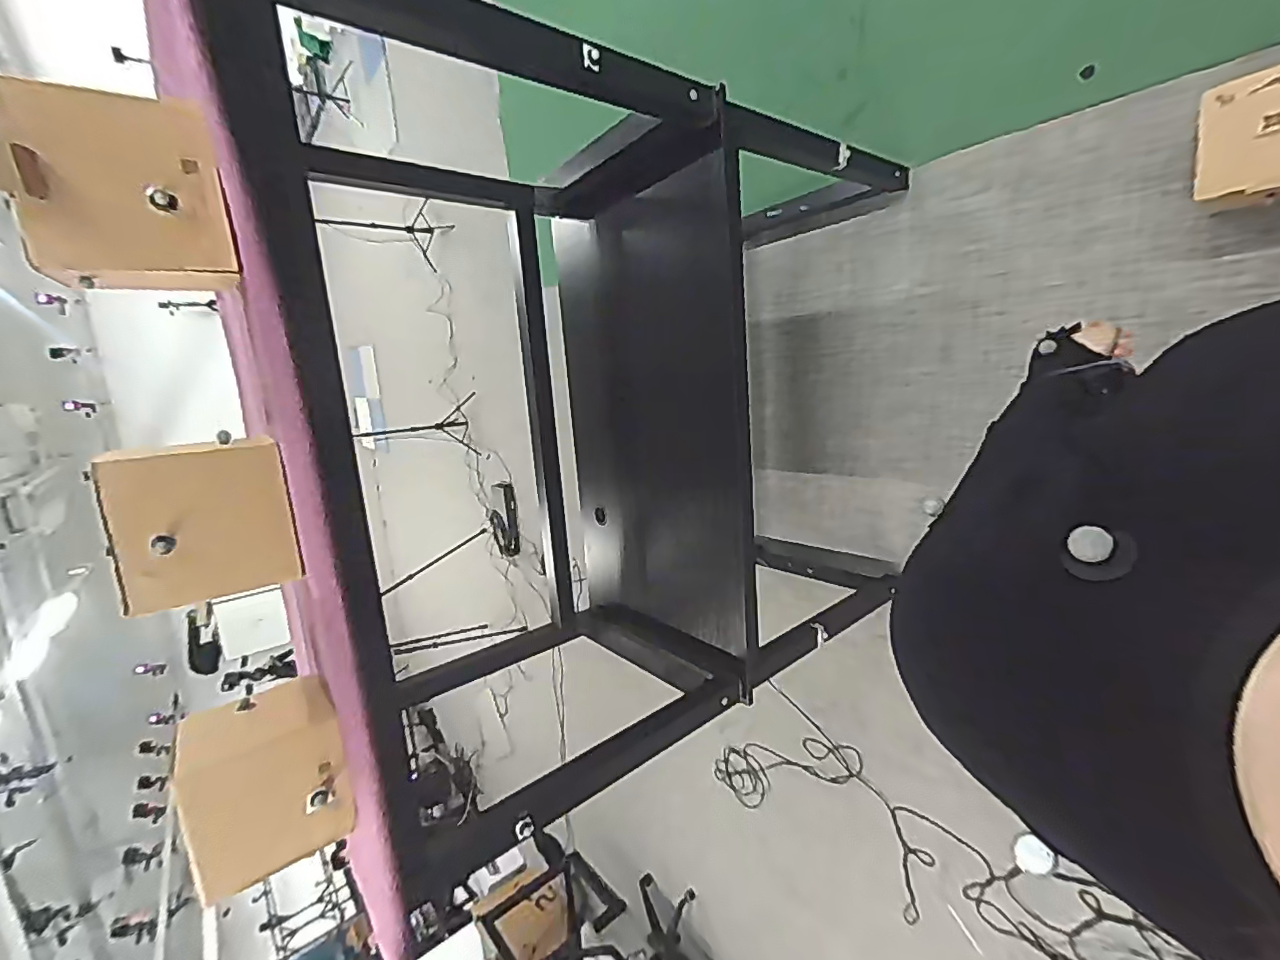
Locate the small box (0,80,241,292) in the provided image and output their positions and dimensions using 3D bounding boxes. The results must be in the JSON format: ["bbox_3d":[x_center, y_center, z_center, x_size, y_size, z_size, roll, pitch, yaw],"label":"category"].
[{"bbox_3d":[-0.567,-0.306,0.608,0.179,0.176,0.168,14,113,52],"label":"small box"}]

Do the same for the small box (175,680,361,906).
[{"bbox_3d":[-0.488,0.390,0.717,0.179,0.176,0.168,2,103,50],"label":"small box"}]

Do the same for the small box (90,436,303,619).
[{"bbox_3d":[-0.540,0.045,0.681,0.168,0.176,0.179,10,108,52],"label":"small box"}]

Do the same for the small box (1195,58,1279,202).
[{"bbox_3d":[1.042,-0.571,0.881,0.168,0.176,0.179,7,106,51],"label":"small box"}]
